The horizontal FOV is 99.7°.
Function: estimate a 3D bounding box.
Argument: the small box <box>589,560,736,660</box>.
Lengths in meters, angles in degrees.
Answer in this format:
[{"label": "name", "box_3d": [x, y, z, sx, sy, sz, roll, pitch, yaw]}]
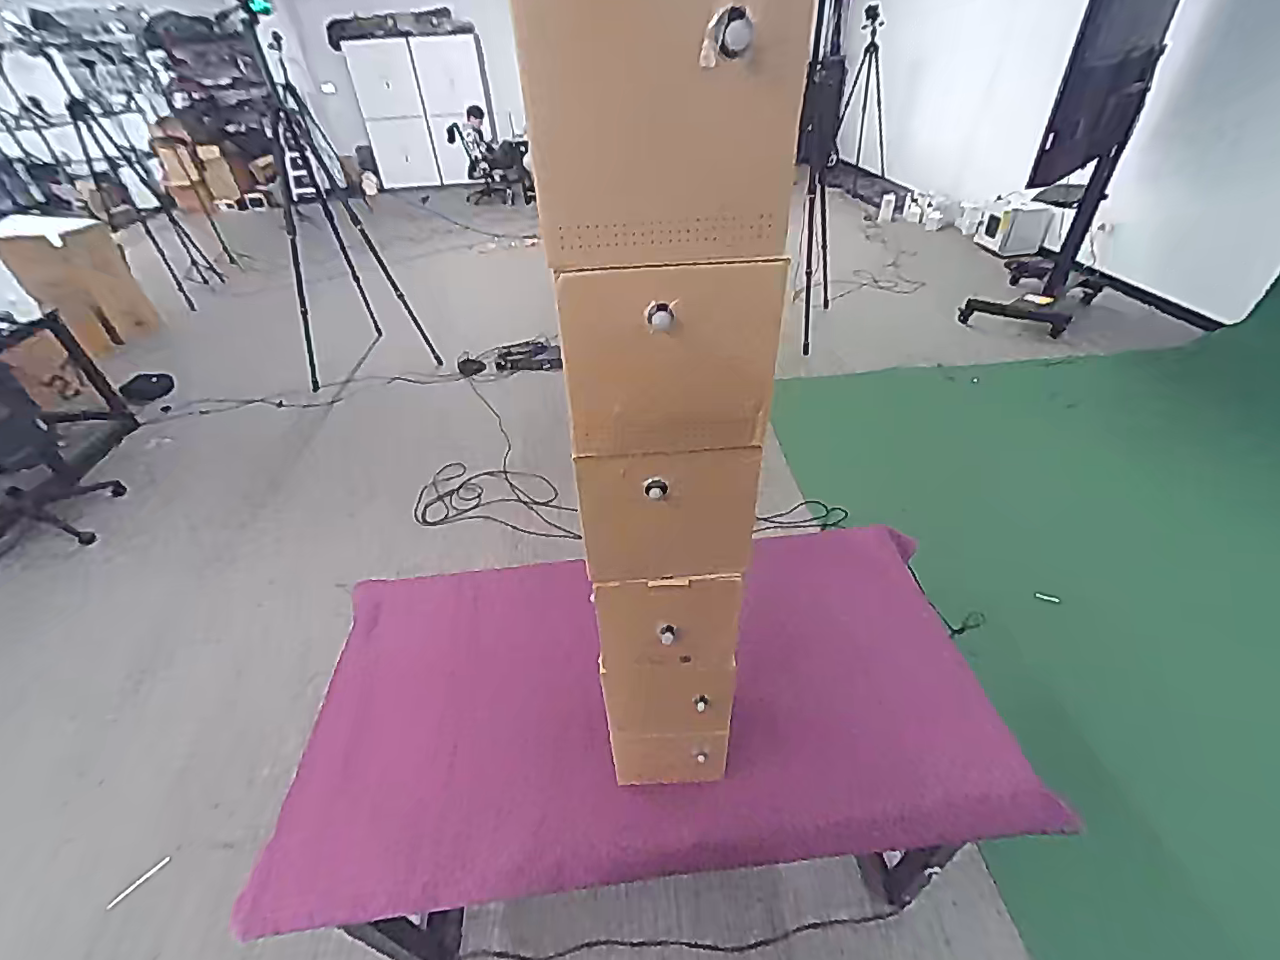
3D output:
[{"label": "small box", "box_3d": [0.029, 0.118, 0.702, 0.168, 0.176, 0.179, -2, 38, 1]}]

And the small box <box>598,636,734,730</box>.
[{"label": "small box", "box_3d": [0.036, 0.249, 0.798, 0.179, 0.176, 0.168, -3, 38, 1]}]

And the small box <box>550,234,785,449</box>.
[{"label": "small box", "box_3d": [0.021, -0.142, 0.505, 0.179, 0.176, 0.168, -4, 38, 0]}]

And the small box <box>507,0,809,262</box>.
[{"label": "small box", "box_3d": [0.011, -0.275, 0.408, 0.179, 0.176, 0.168, -3, 38, 0]}]

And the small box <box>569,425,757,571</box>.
[{"label": "small box", "box_3d": [0.022, -0.013, 0.603, 0.179, 0.176, 0.168, -3, 38, -1]}]
